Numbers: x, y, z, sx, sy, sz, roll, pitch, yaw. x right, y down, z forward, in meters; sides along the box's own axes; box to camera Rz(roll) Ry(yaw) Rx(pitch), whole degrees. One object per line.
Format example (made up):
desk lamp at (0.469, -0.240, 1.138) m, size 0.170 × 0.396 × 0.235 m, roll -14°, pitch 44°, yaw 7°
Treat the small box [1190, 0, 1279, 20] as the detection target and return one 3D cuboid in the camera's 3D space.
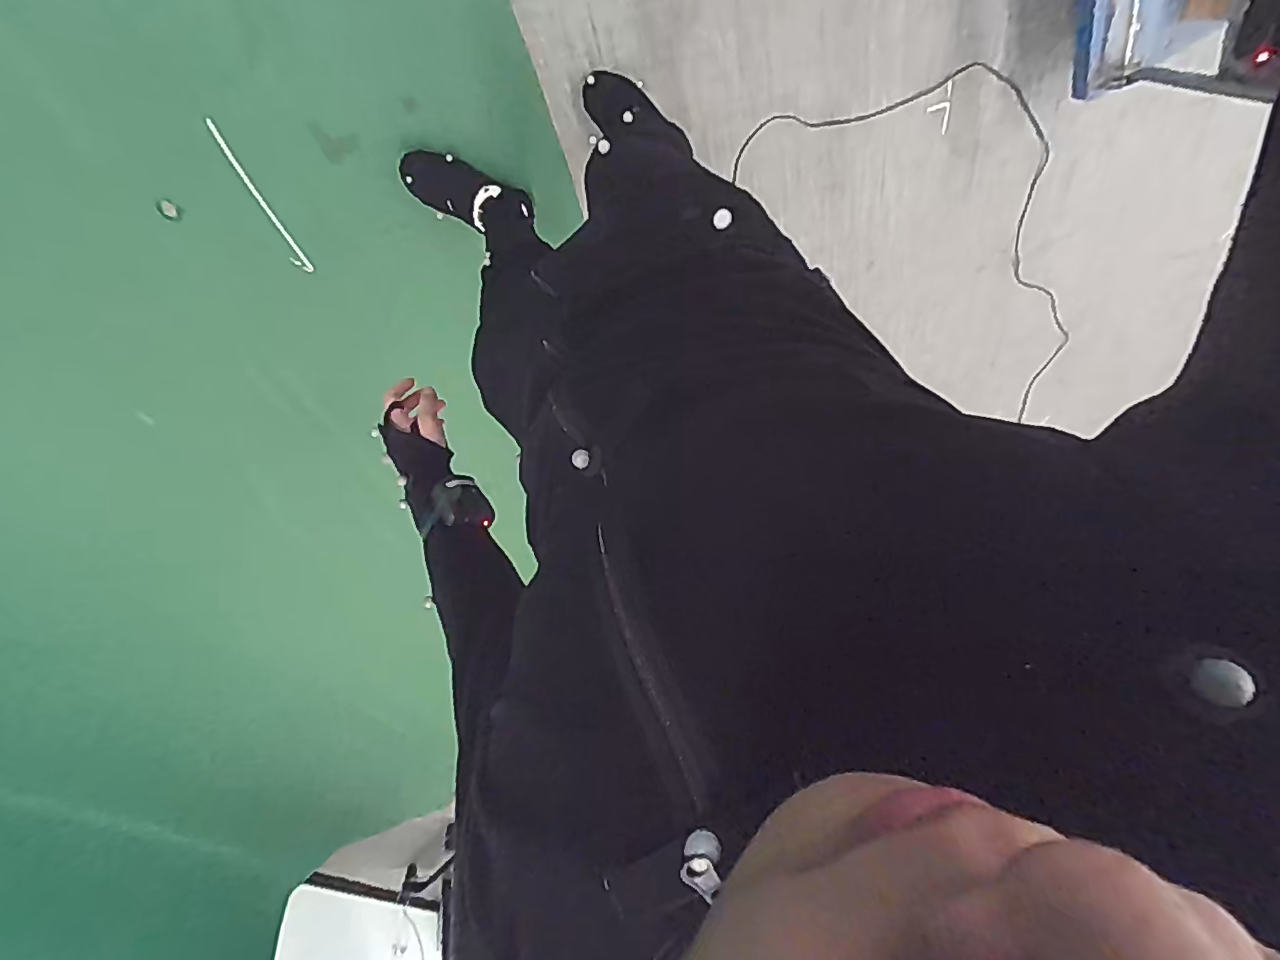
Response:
small box at (1.300, -1.081, 1.096) m, size 0.179 × 0.176 × 0.168 m, roll -27°, pitch 133°, yaw 8°
